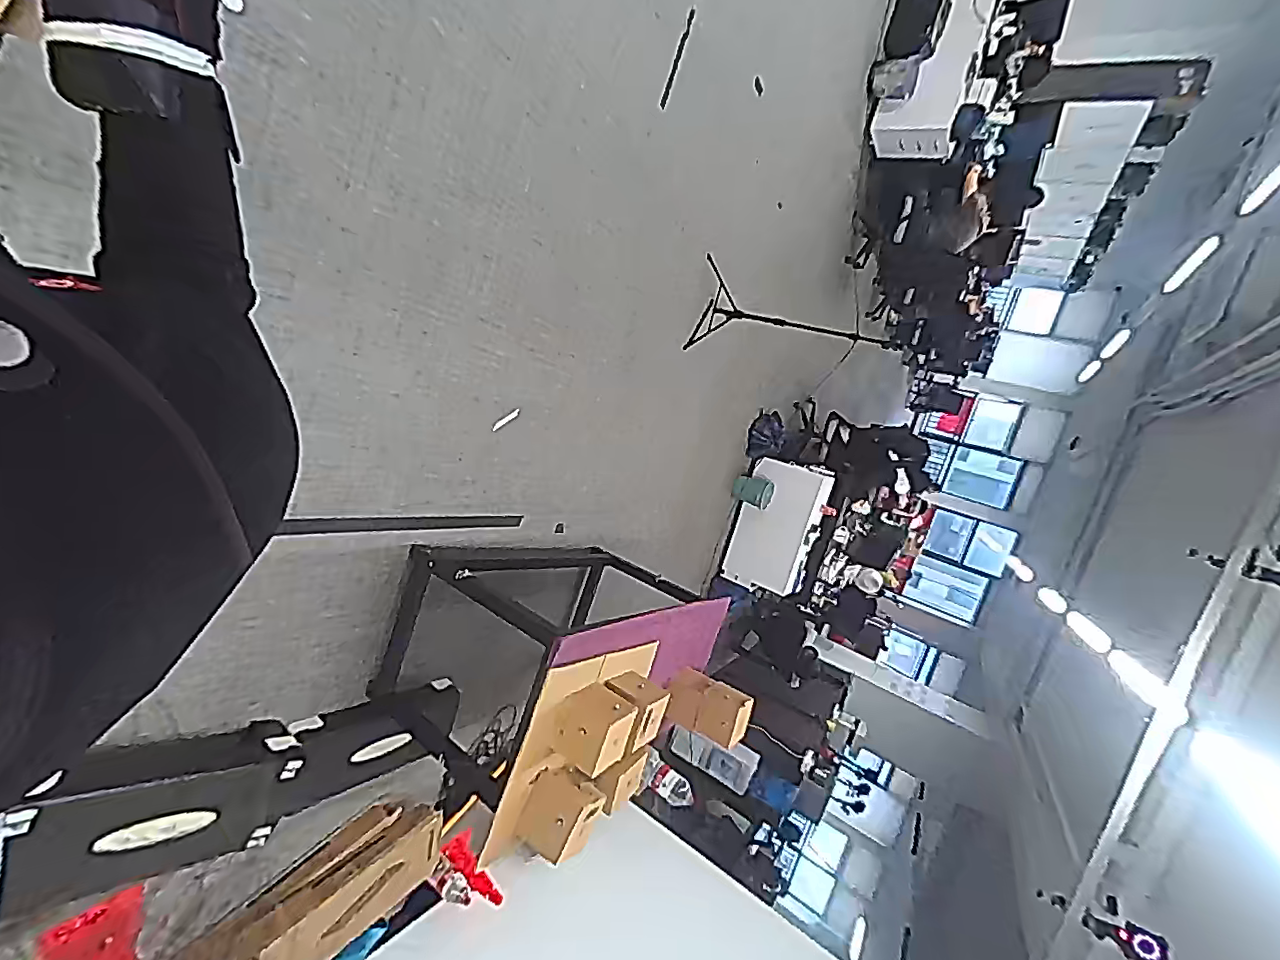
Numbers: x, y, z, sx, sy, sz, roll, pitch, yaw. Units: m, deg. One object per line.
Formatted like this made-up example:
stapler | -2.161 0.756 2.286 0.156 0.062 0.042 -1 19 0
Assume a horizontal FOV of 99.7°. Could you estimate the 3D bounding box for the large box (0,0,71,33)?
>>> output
large box | -0.501 -0.532 0.255 0.320 0.320 0.408 -55 140 6
